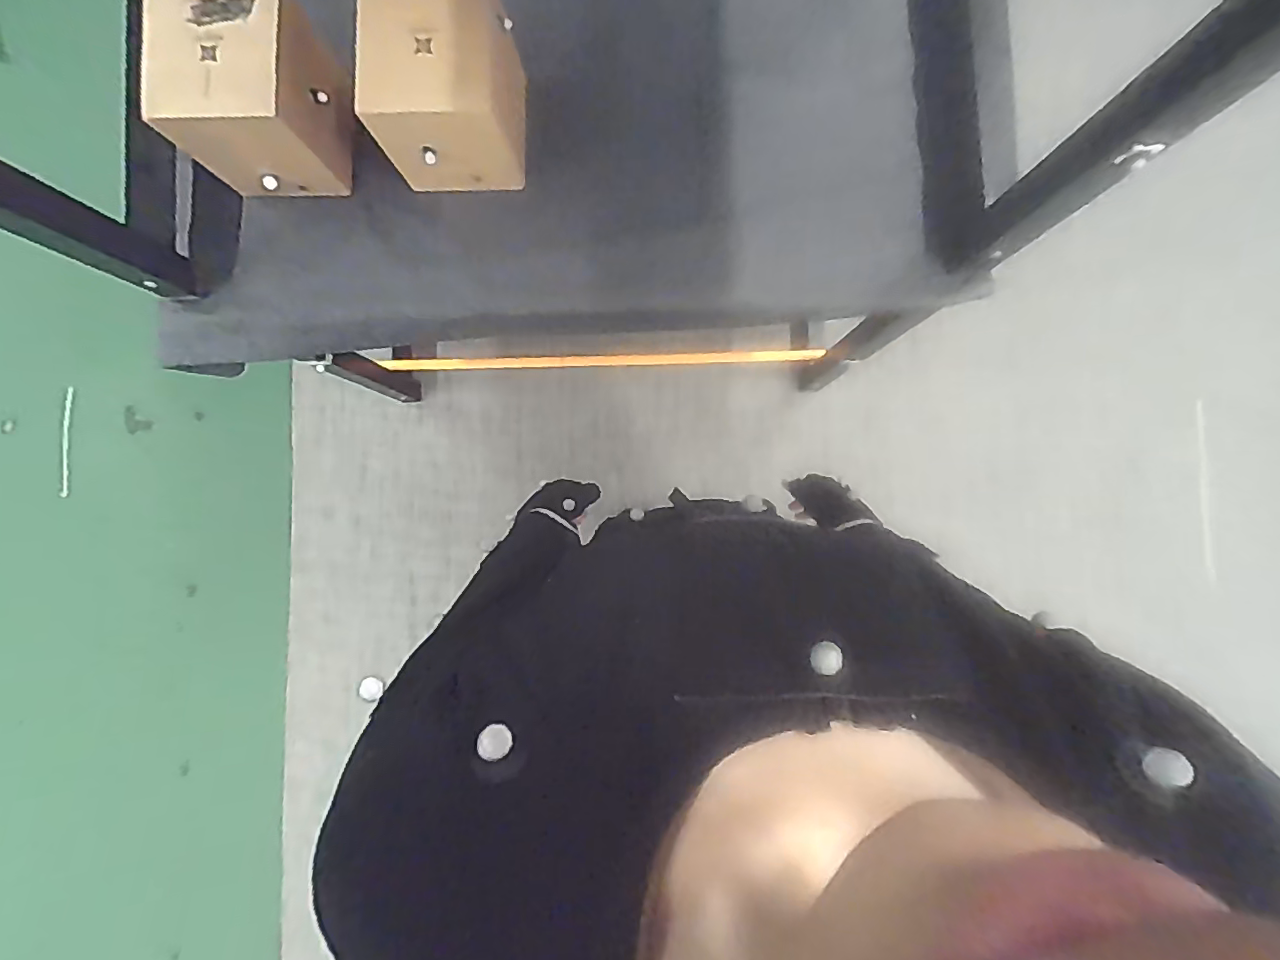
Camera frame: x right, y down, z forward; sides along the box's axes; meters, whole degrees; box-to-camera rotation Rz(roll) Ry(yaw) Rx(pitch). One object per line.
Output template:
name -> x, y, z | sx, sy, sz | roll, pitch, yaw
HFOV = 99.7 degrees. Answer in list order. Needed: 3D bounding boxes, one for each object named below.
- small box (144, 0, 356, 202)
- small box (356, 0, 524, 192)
small box -> -0.508, -0.506, 0.728 | 0.168, 0.176, 0.179 | 0, 88, 1
small box -> -0.255, -0.511, 0.726 | 0.168, 0.176, 0.179 | -1, 87, 1
